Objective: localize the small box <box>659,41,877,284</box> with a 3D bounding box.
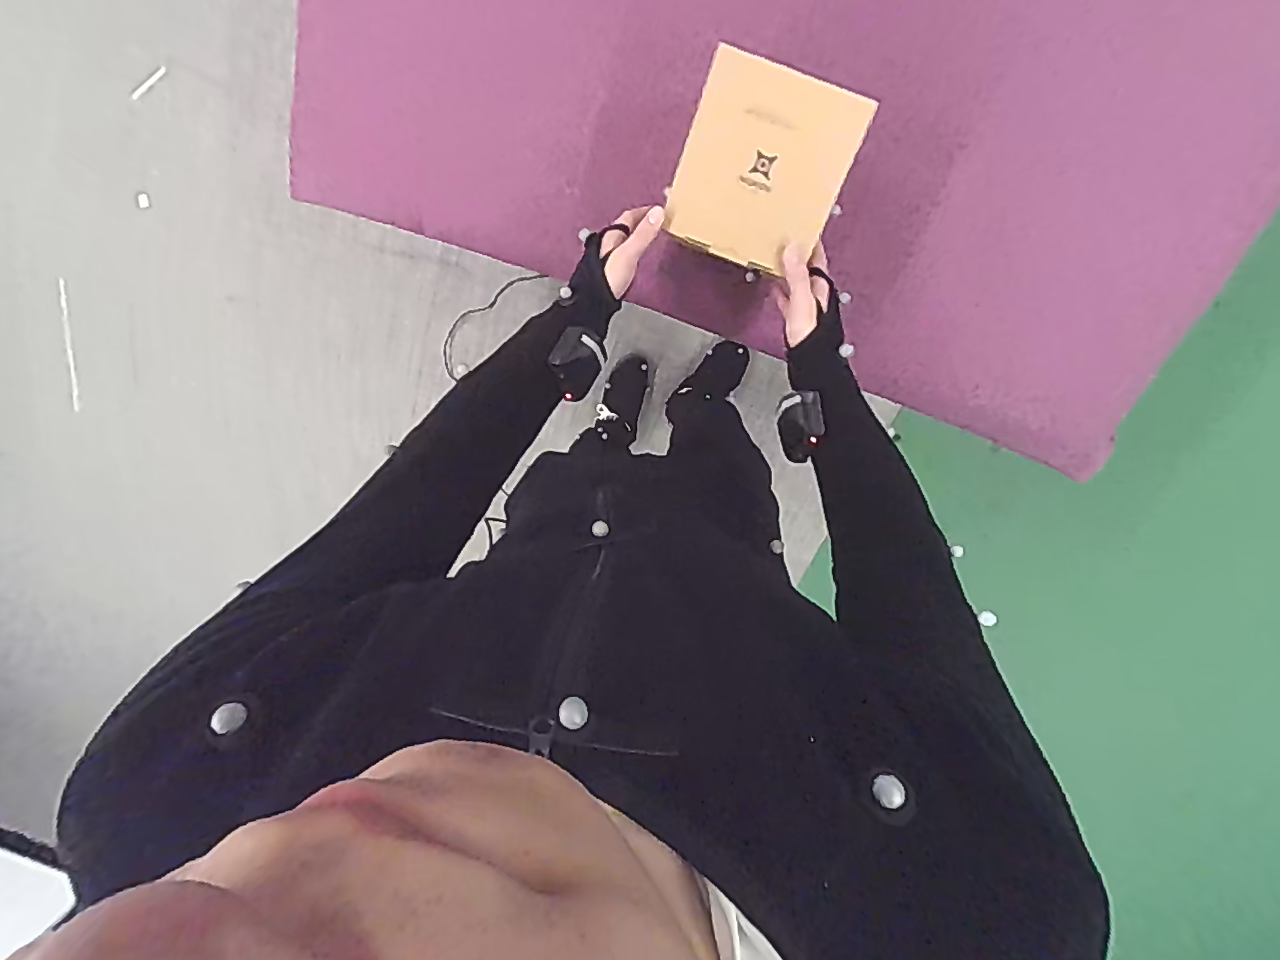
[{"bbox_3d":[0.136,-0.342,0.619,0.168,0.176,0.179,22,112,0],"label":"small box"}]
